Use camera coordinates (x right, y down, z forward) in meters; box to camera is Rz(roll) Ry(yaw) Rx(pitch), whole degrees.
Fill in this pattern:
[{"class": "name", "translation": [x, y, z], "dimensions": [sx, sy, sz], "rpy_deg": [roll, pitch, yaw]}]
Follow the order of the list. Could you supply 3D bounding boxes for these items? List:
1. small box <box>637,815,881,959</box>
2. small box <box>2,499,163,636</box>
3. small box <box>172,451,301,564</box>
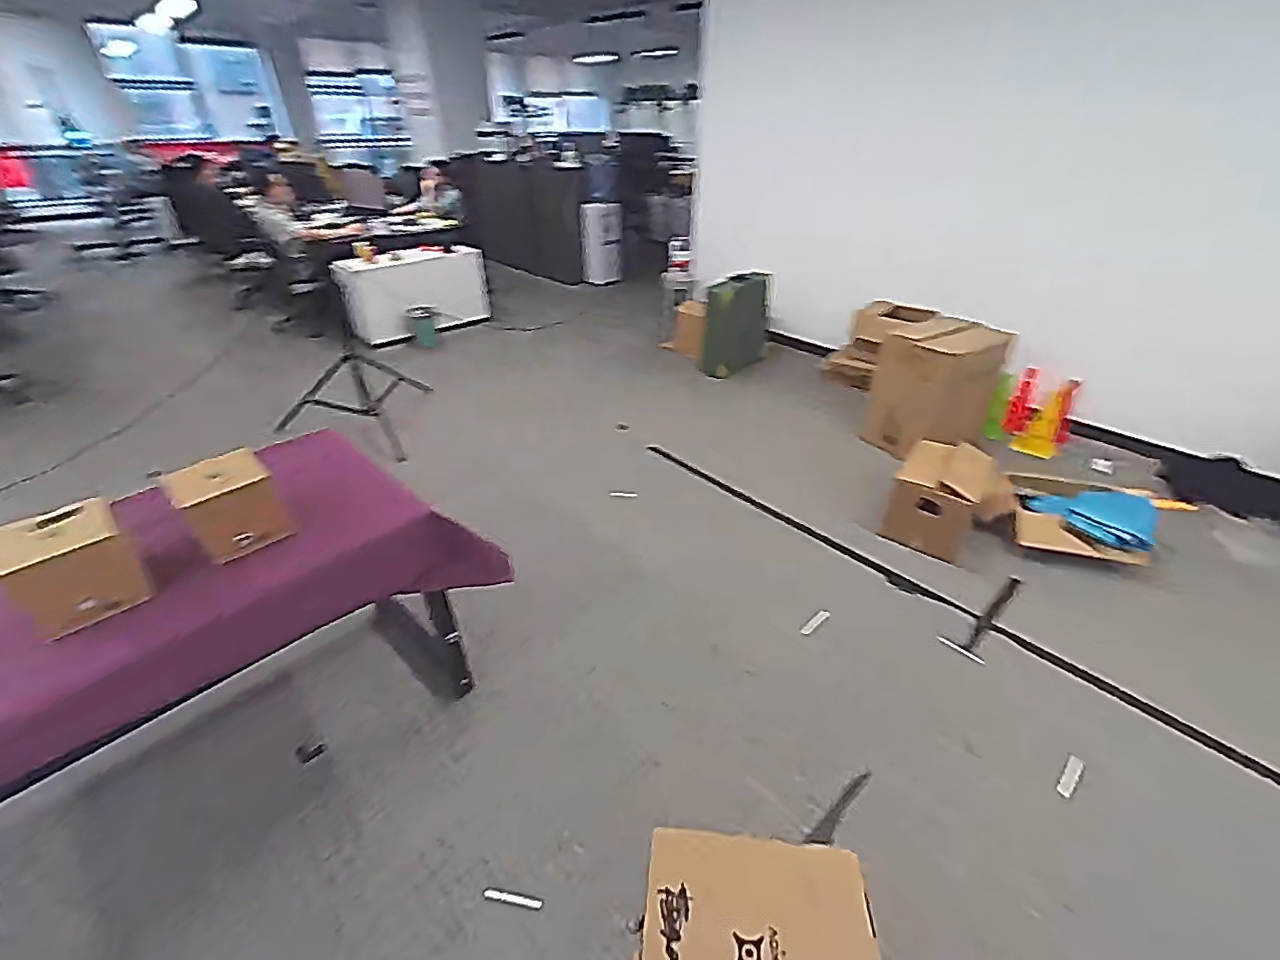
[{"class": "small box", "translation": [0.085, 0.407, 0.433], "dimensions": [0.179, 0.176, 0.168], "rpy_deg": [4, 29, 4]}, {"class": "small box", "translation": [-1.091, 0.171, 1.065], "dimensions": [0.179, 0.176, 0.168], "rpy_deg": [29, 44, 35]}, {"class": "small box", "translation": [-0.915, 0.062, 1.233], "dimensions": [0.179, 0.176, 0.168], "rpy_deg": [28, 44, 34]}]
